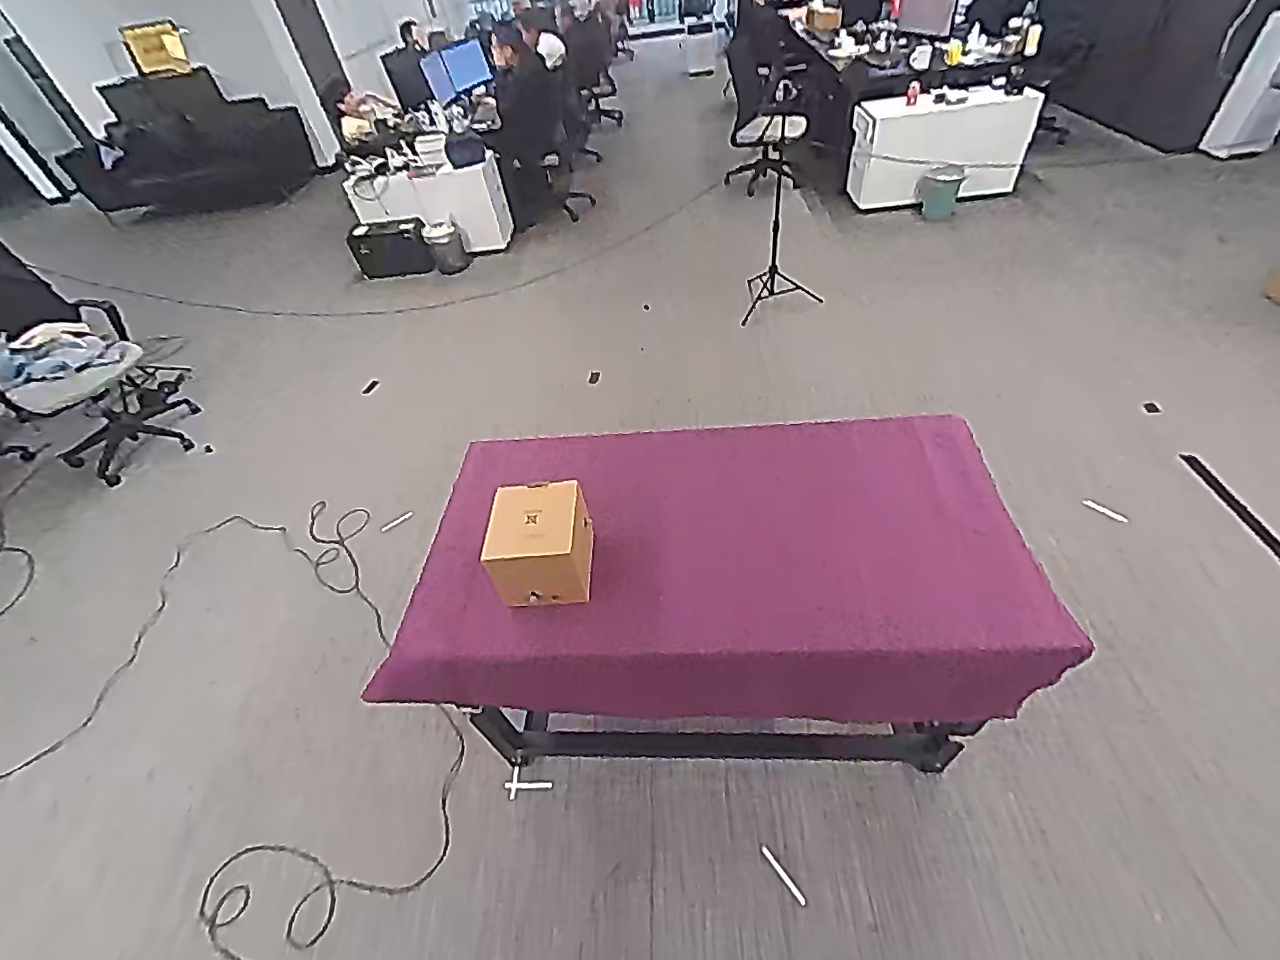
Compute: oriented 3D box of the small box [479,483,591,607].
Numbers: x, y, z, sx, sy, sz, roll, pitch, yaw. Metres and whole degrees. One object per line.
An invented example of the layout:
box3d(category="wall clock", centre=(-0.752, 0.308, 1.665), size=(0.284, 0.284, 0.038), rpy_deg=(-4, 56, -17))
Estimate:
box3d(category="small box", centre=(-0.194, 0.128, 1.056), size=(0.168, 0.176, 0.179), rpy_deg=(-4, 46, 5))
